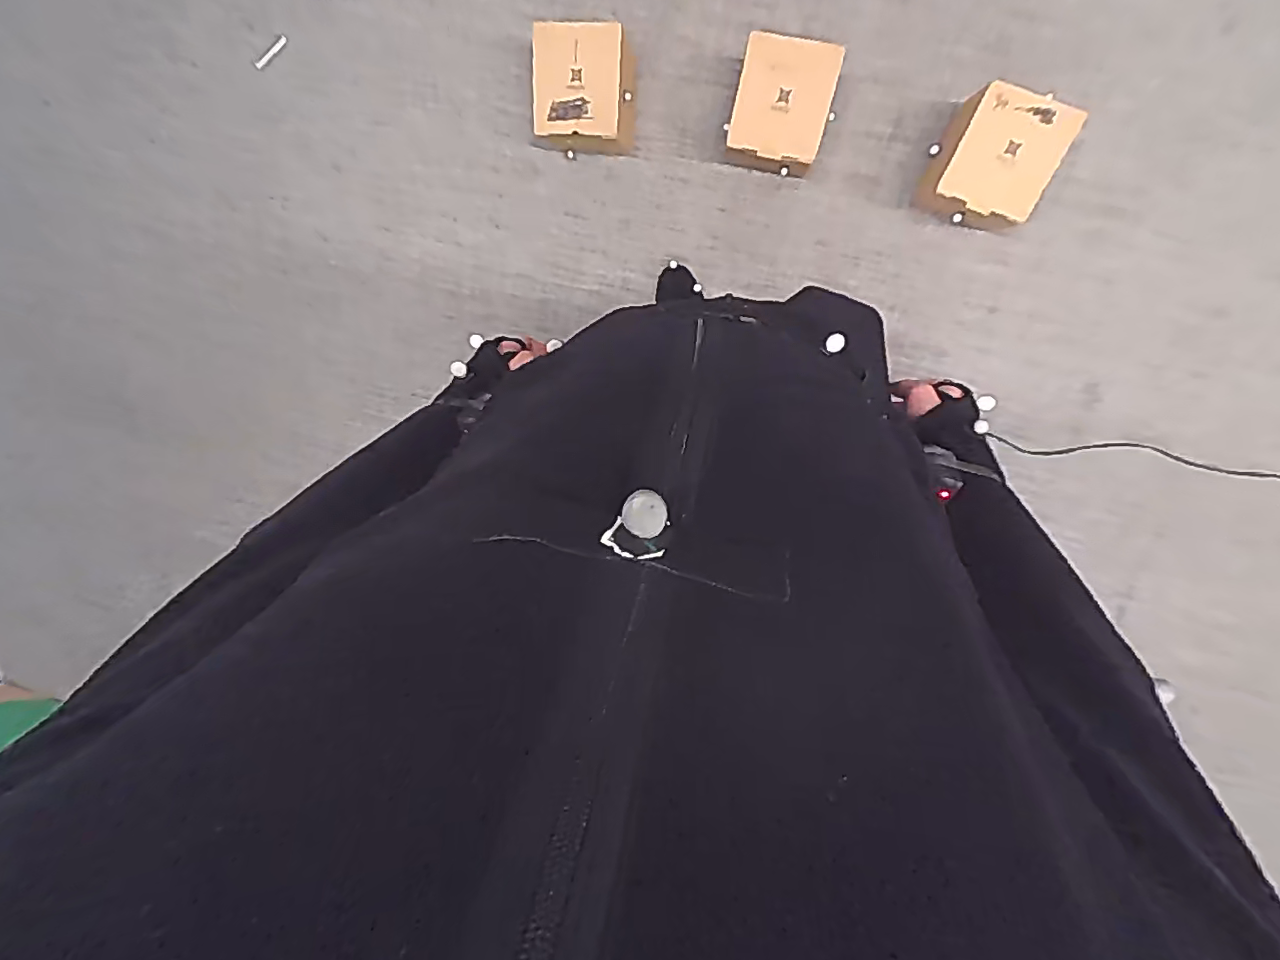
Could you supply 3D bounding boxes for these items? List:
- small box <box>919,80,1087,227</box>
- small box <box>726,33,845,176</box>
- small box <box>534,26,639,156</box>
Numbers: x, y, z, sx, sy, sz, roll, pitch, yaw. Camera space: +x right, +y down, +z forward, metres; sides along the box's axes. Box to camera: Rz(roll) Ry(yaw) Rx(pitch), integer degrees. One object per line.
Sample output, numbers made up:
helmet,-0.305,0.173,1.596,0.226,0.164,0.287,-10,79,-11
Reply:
small box,0.636,-0.576,0.981,0.168,0.176,0.179,23,115,3
small box,0.264,-0.688,1.013,0.168,0.176,0.179,13,112,5
small box,-0.099,-0.749,1.059,0.168,0.176,0.179,7,111,8
